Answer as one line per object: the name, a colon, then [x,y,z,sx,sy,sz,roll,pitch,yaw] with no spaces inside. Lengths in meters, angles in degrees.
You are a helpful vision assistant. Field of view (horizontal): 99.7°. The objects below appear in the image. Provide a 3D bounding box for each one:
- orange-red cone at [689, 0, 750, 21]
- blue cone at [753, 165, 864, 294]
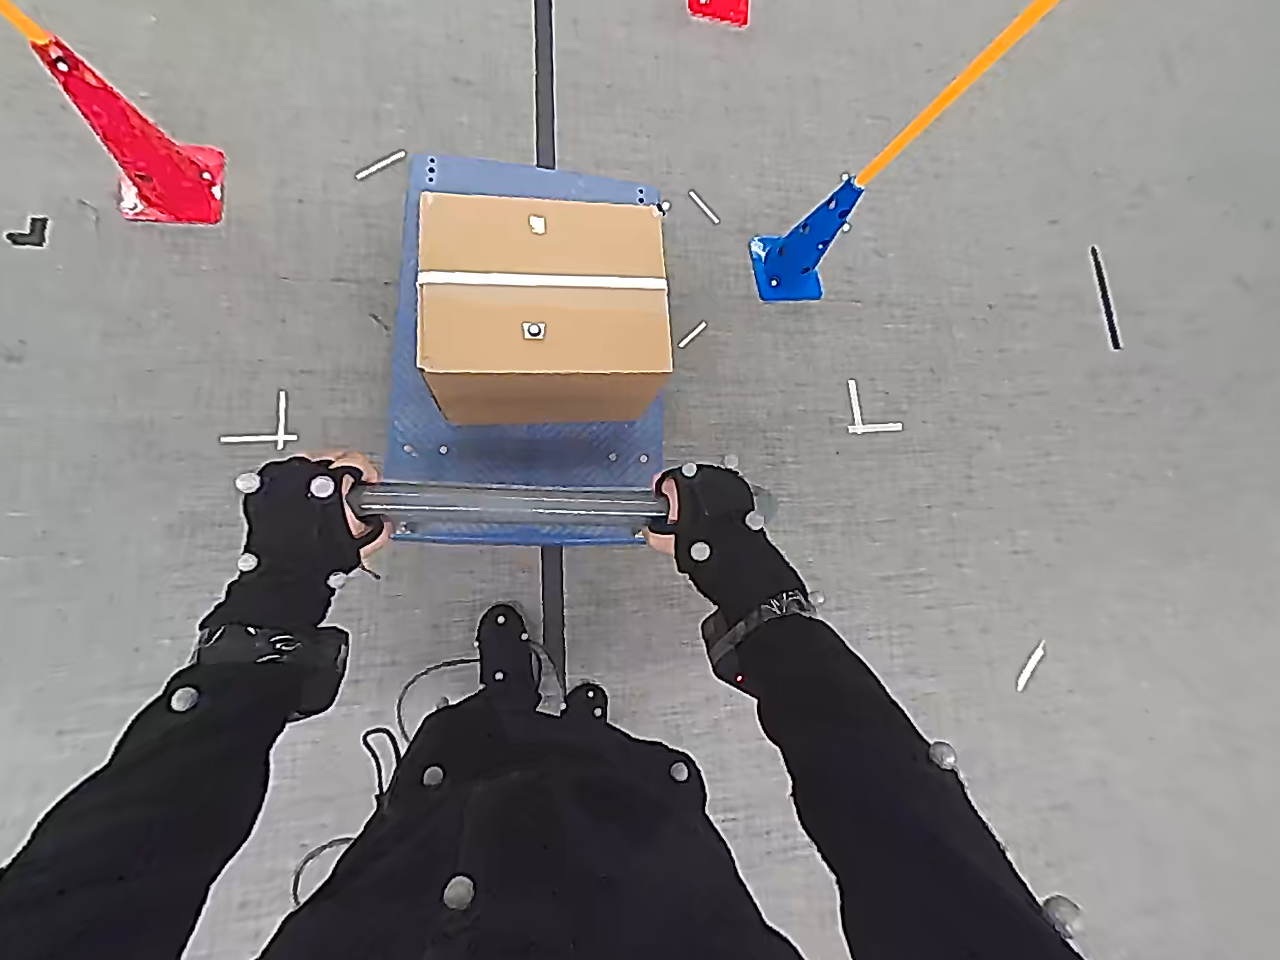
orange-red cone: [0.284,-1.542,1.501,0.199,0.360,0.198,5,80,-12]
blue cone: [0.458,-0.654,1.401,0.193,0.380,0.192,-5,81,-13]
